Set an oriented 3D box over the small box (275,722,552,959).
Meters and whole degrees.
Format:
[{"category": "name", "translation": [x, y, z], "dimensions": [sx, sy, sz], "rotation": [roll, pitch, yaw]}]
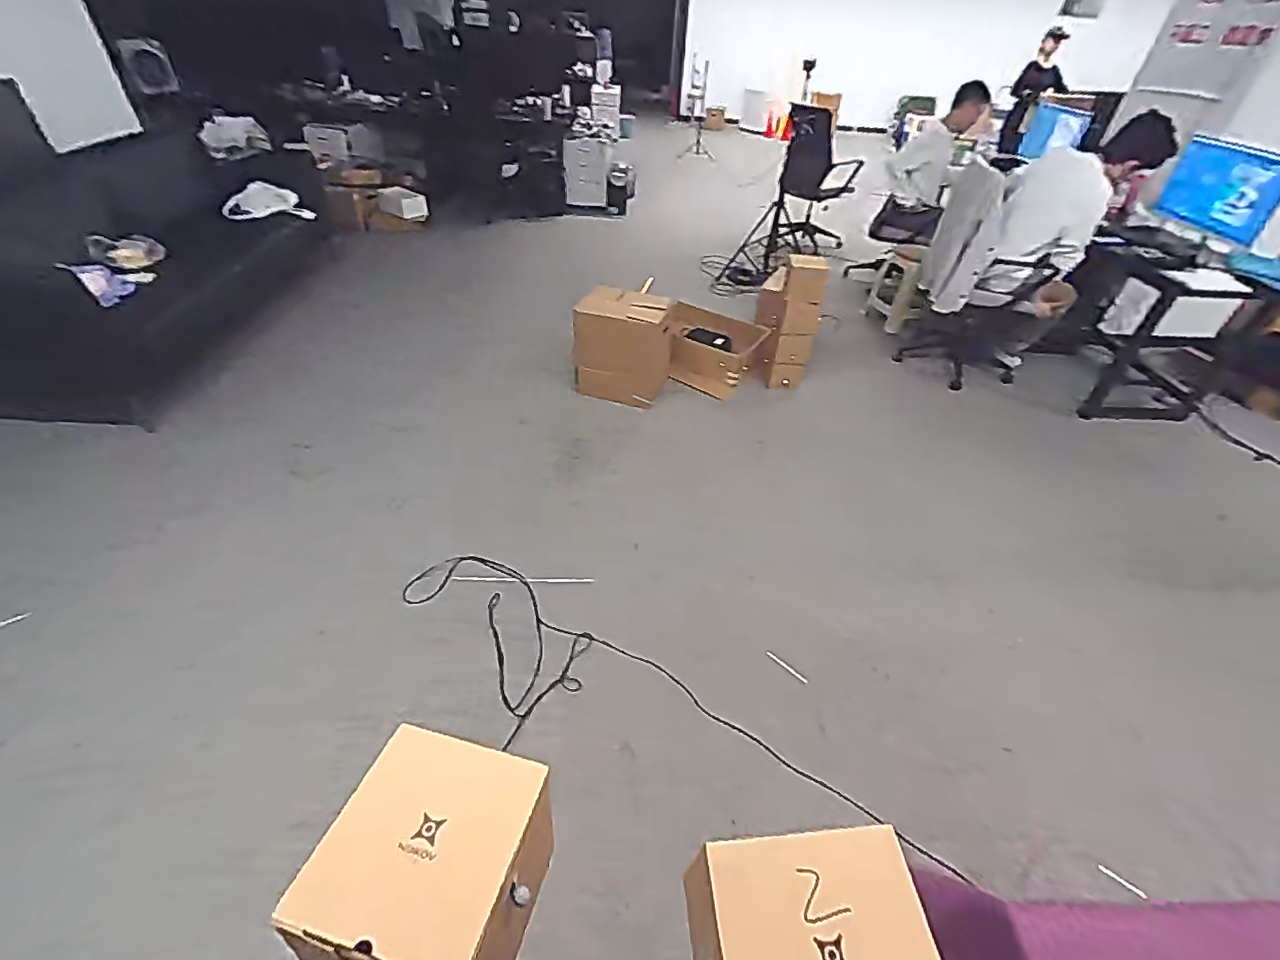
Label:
[{"category": "small box", "translation": [-0.194, 0.377, 0.518], "dimensions": [0.168, 0.176, 0.179], "rotation": [12, 34, 10]}]
